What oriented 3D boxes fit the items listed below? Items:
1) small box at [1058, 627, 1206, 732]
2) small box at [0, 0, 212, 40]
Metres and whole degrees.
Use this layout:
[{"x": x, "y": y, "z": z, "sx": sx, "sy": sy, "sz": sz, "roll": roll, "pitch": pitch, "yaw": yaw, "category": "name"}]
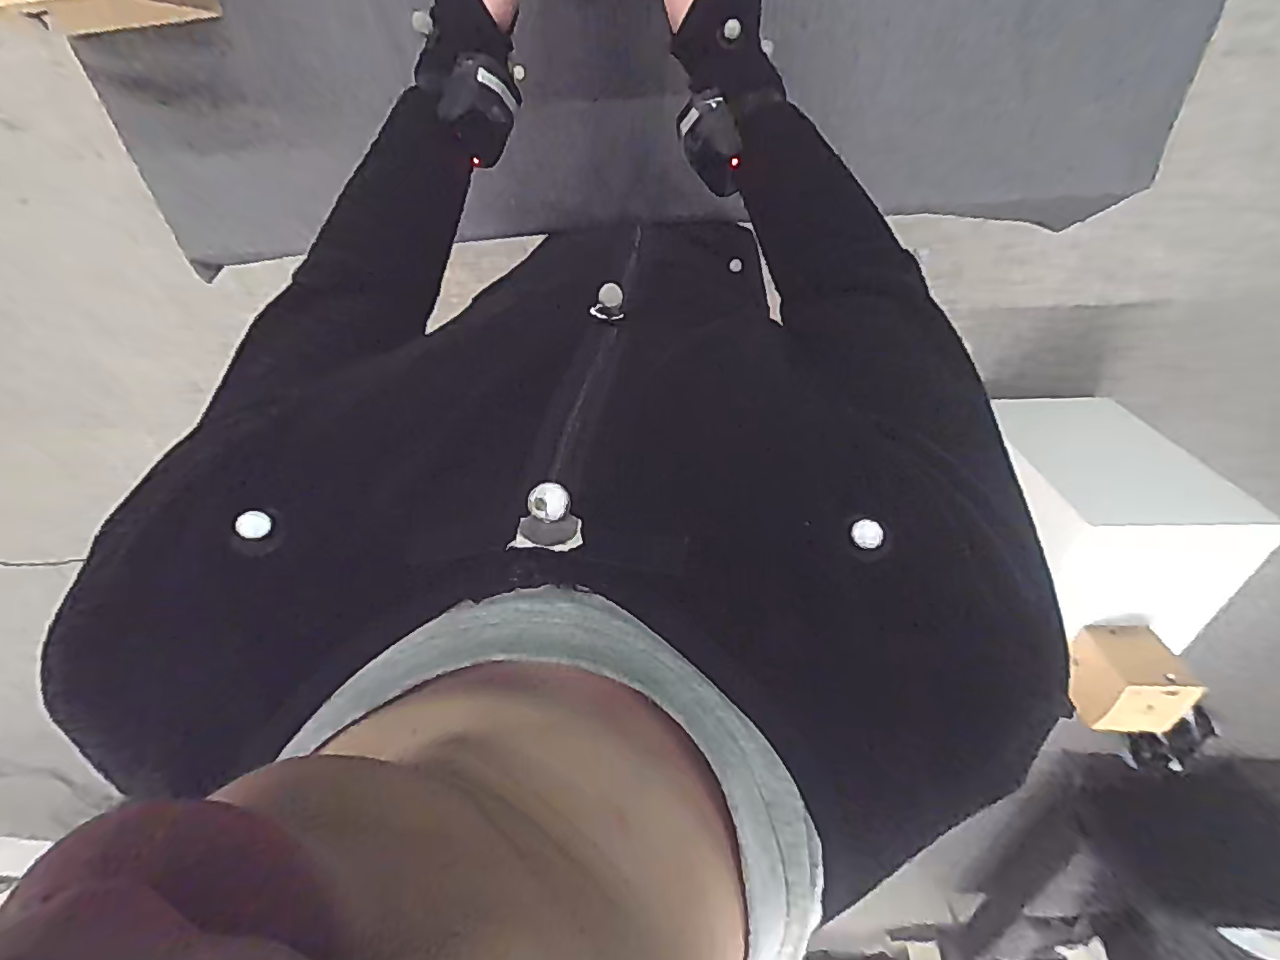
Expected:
[{"x": 1.147, "y": 0.473, "z": 1.284, "sx": 0.168, "sy": 0.176, "sz": 0.179, "roll": -1, "pitch": 125, "yaw": 0, "category": "small box"}, {"x": -0.517, "y": -0.478, "z": 0.439, "sx": 0.179, "sy": 0.176, "sz": 0.168, "roll": -6, "pitch": 125, "yaw": 1, "category": "small box"}]
